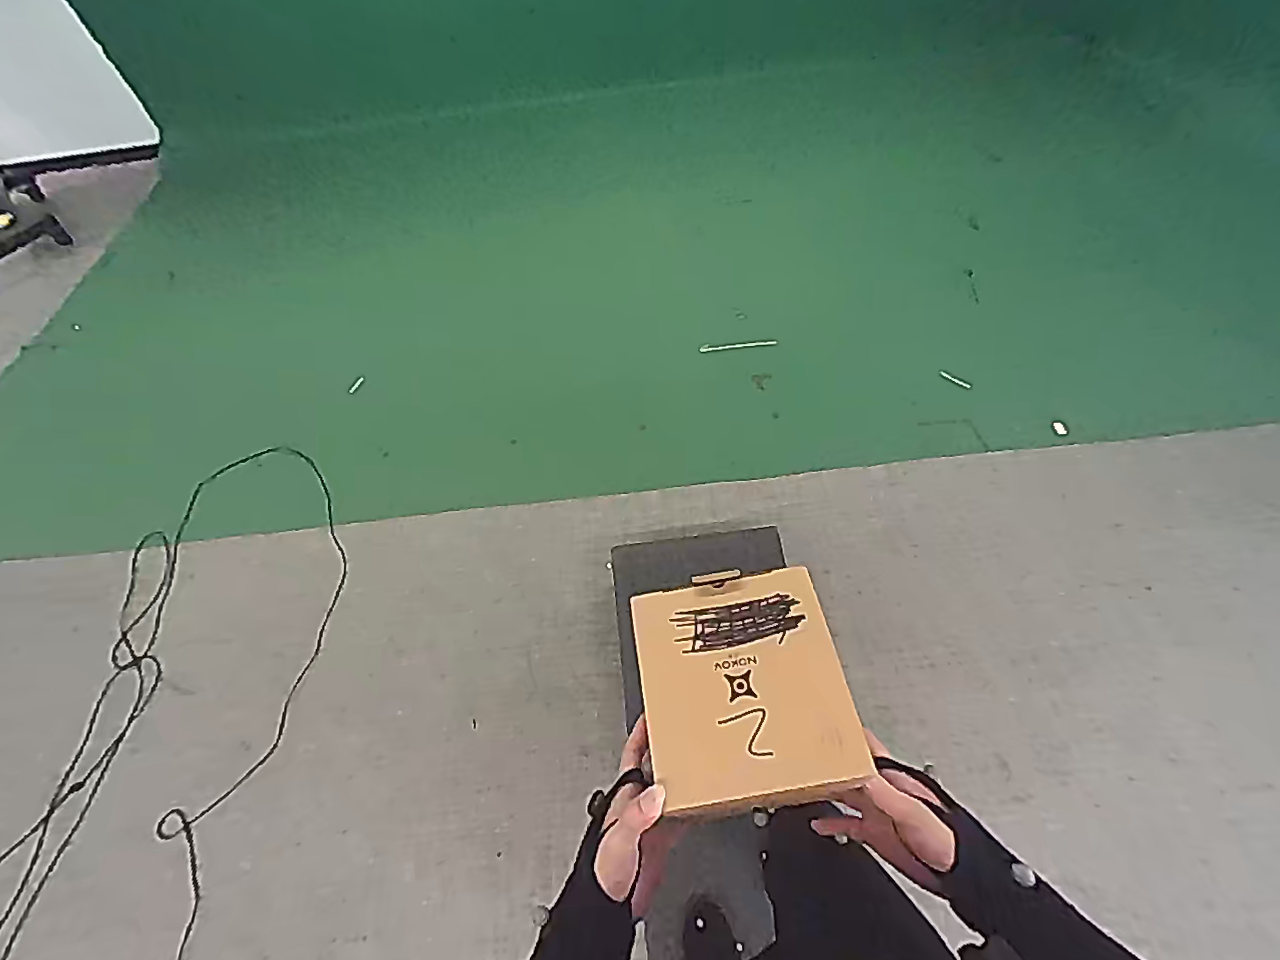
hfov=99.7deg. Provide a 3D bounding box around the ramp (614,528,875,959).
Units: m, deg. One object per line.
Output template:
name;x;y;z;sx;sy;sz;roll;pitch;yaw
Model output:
ramp;0.219;0.622;1.365;0.509;0.206;0.991;-8;56;-1
